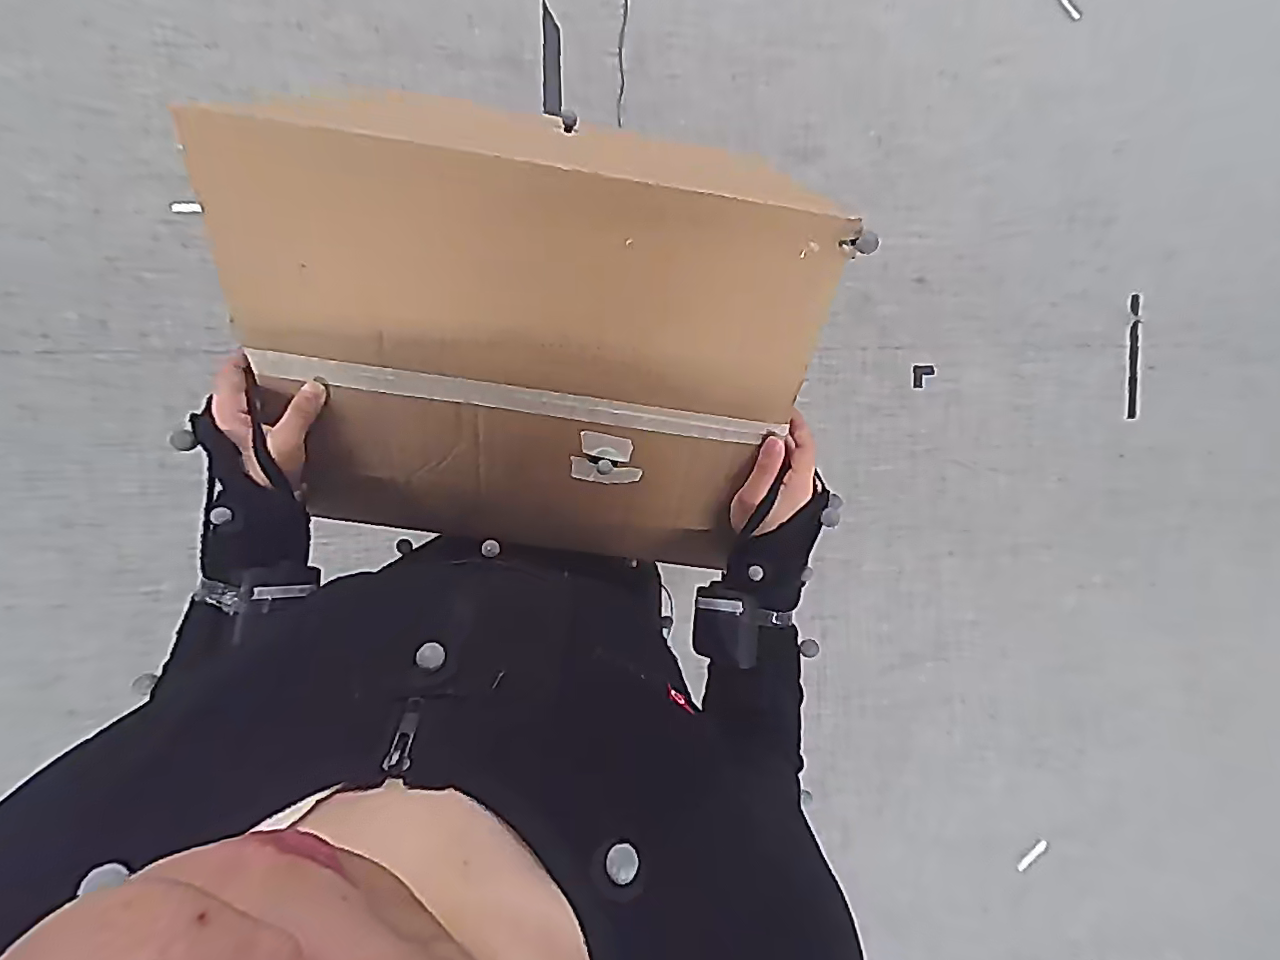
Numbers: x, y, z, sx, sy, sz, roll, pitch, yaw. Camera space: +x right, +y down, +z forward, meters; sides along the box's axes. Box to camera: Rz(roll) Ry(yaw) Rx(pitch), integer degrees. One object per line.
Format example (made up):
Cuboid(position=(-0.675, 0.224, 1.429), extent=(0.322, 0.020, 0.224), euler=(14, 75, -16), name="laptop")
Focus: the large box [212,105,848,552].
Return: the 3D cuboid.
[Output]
Cuboid(position=(-0.080, -0.160, 0.541), extent=(0.408, 0.320, 0.320), euler=(7, 128, -4), name="large box")
